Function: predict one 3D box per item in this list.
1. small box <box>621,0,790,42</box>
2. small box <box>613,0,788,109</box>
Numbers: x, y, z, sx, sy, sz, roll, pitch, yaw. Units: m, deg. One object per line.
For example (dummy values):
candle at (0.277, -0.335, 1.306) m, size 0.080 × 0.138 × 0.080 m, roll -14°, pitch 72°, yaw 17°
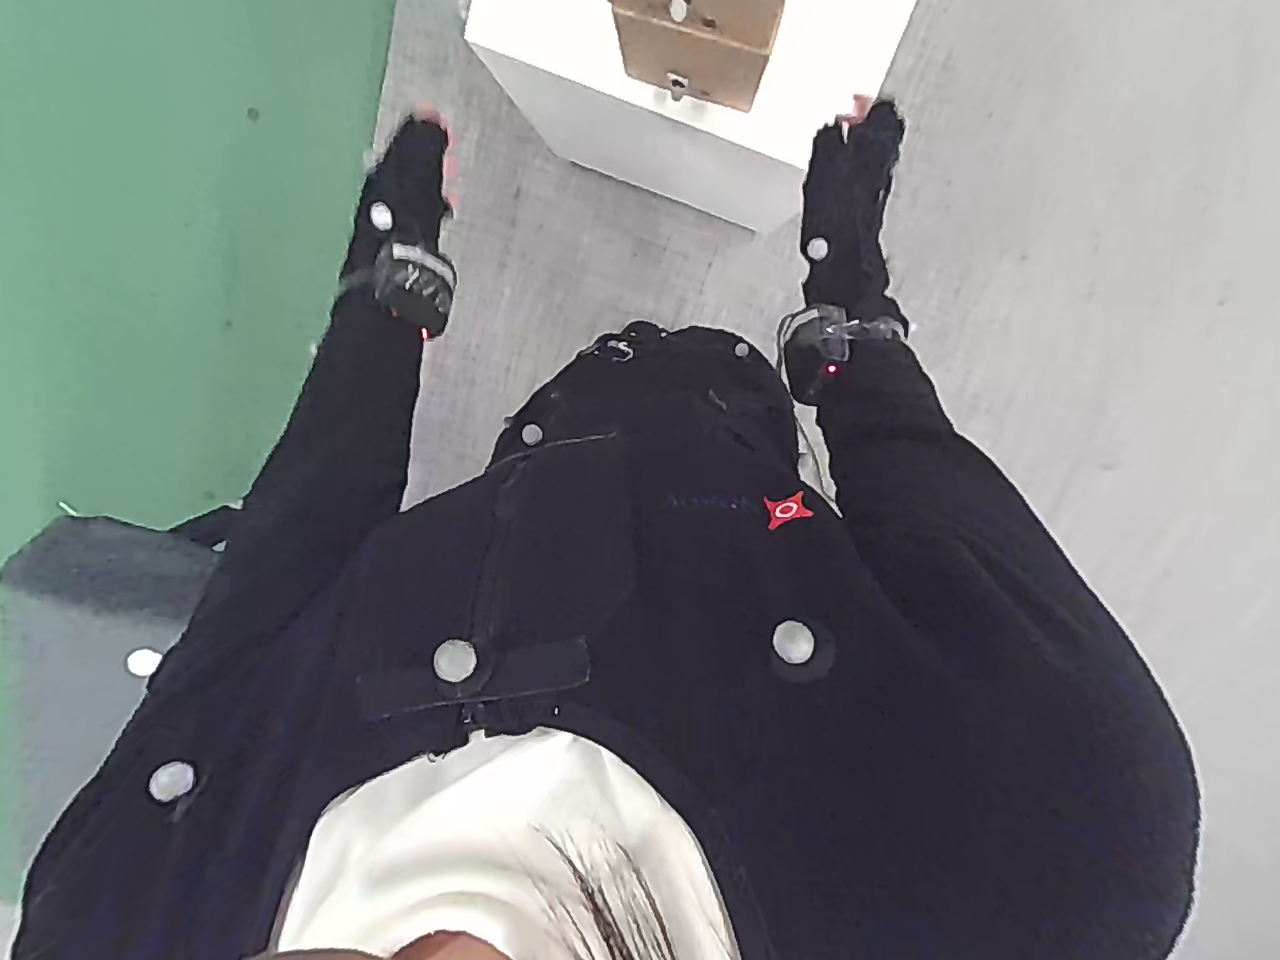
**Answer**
small box at (0.063, -0.490, 0.411) m, size 0.168 × 0.176 × 0.179 m, roll 14°, pitch 106°, yaw 1°
small box at (0.079, -0.533, 0.568) m, size 0.168 × 0.176 × 0.179 m, roll 16°, pitch 109°, yaw 1°
